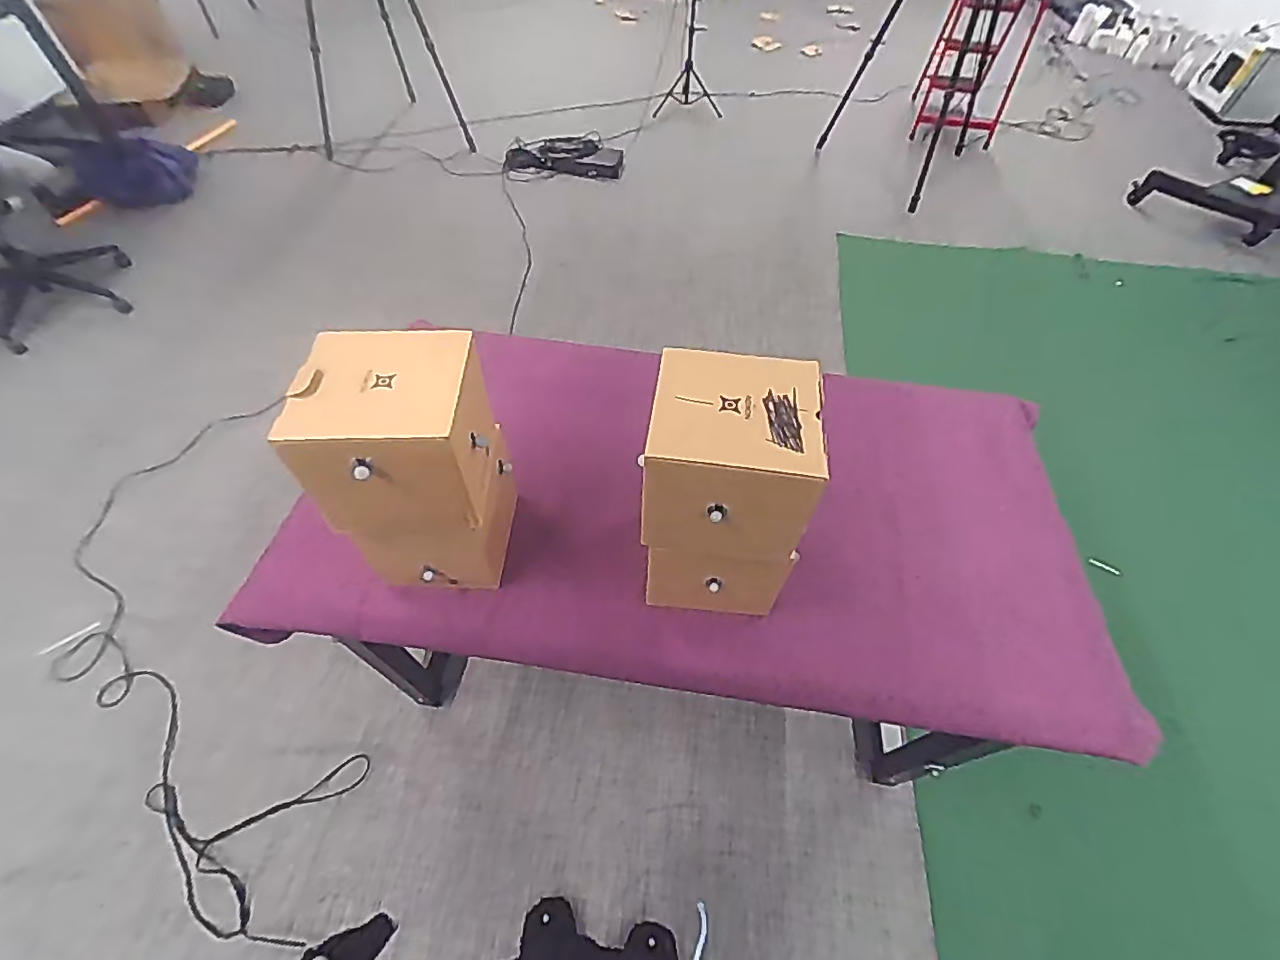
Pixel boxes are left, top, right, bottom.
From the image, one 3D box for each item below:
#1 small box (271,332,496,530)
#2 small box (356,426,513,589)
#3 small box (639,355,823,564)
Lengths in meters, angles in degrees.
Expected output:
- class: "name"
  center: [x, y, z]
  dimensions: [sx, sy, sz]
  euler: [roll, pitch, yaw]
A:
- class: "small box"
  center: [-0.275, -0.052, 0.634]
  dimensions: [0.179, 0.176, 0.168]
  euler: [0, 53, -3]
- class: "small box"
  center: [-0.283, 0.036, 0.771]
  dimensions: [0.168, 0.176, 0.179]
  euler: [3, 53, 0]
- class: "small box"
  center: [0.098, -0.019, 0.626]
  dimensions: [0.179, 0.176, 0.168]
  euler: [7, 53, 5]
